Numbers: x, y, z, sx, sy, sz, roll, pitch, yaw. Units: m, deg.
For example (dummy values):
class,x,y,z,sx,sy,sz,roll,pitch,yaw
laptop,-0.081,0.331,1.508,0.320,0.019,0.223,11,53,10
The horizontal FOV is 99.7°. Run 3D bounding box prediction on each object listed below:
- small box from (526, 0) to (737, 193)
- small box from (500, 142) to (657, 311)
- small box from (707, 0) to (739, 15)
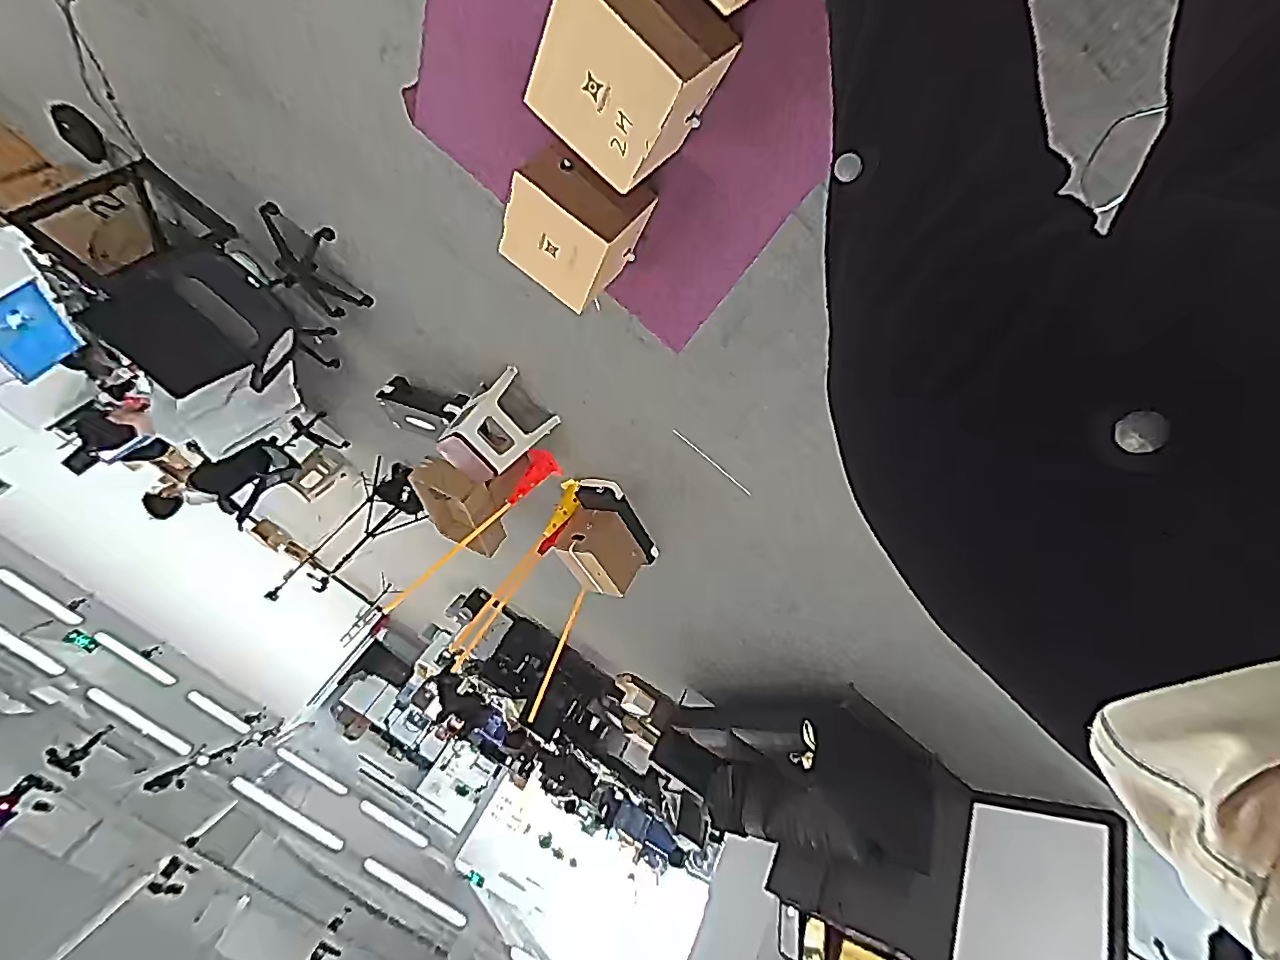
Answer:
class,x,y,z,sx,sy,sz,roll,pitch,yaw
small box,-0.010,-0.524,0.696,0.179,0.176,0.168,40,148,-9
small box,-0.104,-0.429,0.907,0.179,0.176,0.168,37,149,-5
small box,0.098,-0.597,0.501,0.179,0.176,0.168,40,148,-12
